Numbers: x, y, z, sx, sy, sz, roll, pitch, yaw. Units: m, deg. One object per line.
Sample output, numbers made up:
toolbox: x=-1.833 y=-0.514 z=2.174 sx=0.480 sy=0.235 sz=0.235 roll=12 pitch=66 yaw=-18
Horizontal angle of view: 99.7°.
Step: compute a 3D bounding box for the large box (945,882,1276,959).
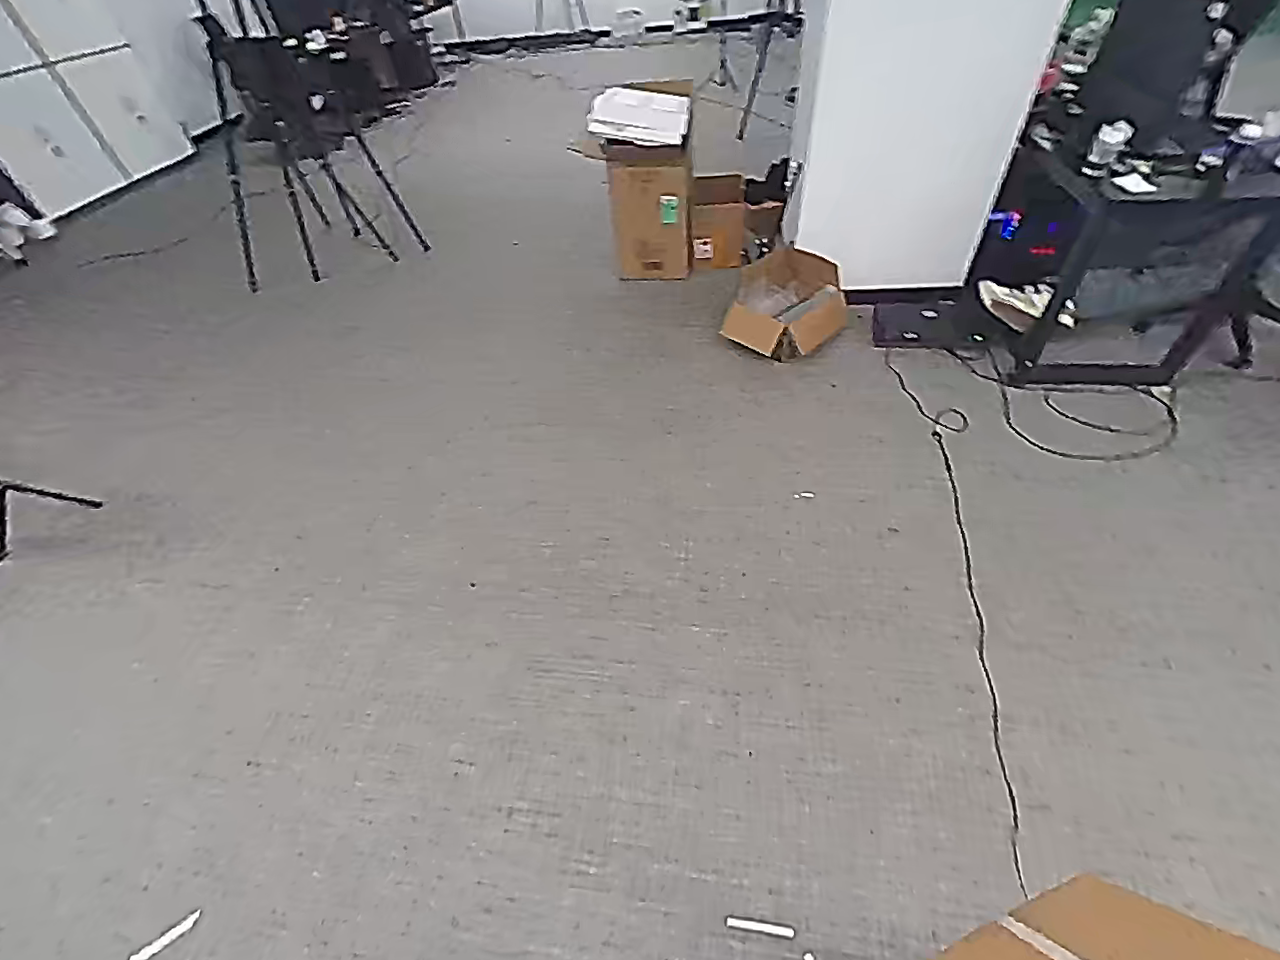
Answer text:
large box: x=0.606 y=0.724 z=0.570 sx=0.320 sy=0.408 sz=0.320 roll=-22 pitch=71 yaw=-10
